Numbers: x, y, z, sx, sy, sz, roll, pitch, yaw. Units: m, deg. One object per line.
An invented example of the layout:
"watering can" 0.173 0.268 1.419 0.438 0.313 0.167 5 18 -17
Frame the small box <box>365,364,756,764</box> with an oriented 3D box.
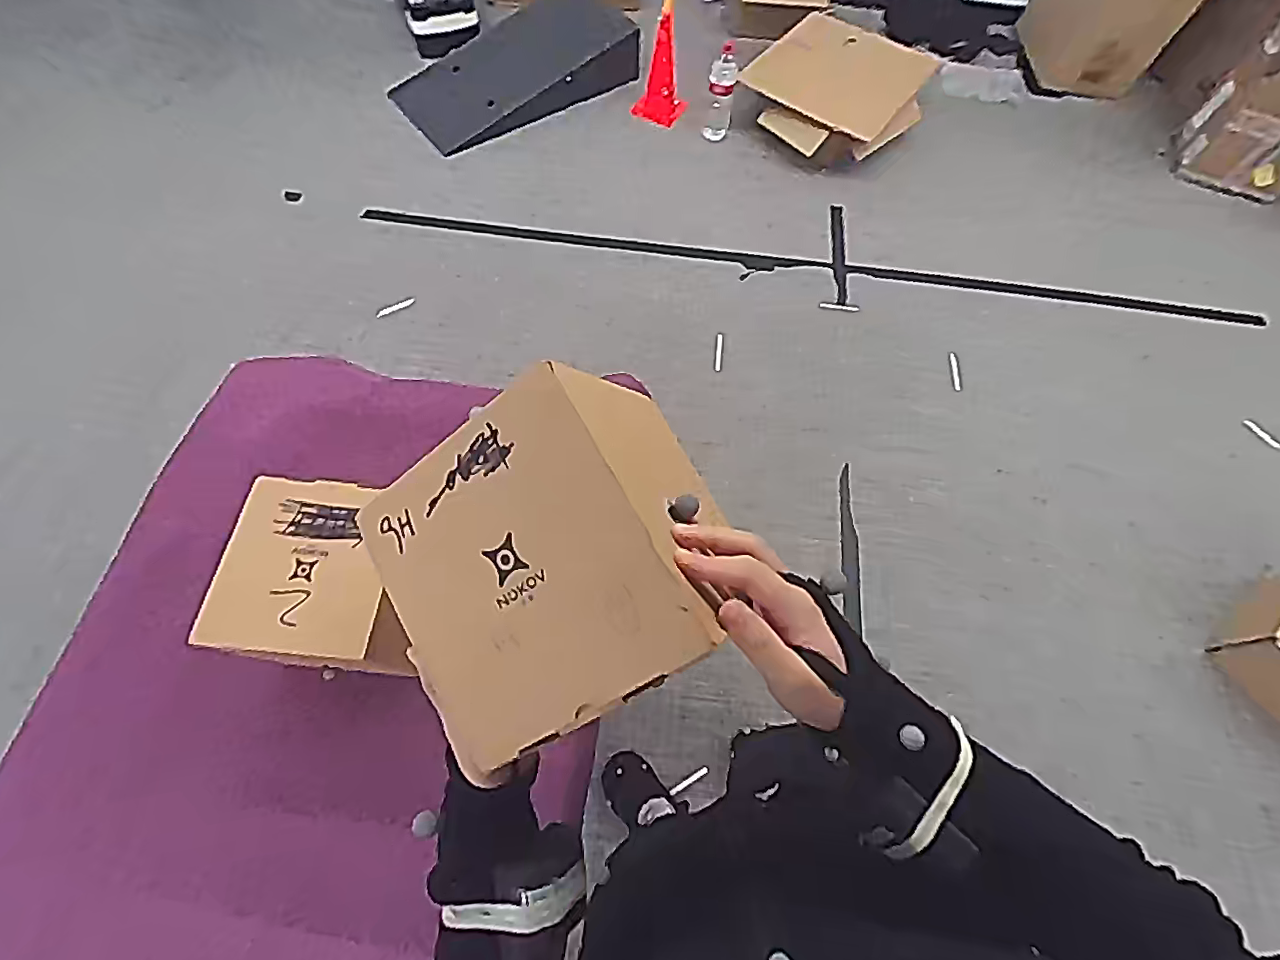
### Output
"small box" -0.037 0.047 0.375 0.168 0.176 0.179 -35 80 17
